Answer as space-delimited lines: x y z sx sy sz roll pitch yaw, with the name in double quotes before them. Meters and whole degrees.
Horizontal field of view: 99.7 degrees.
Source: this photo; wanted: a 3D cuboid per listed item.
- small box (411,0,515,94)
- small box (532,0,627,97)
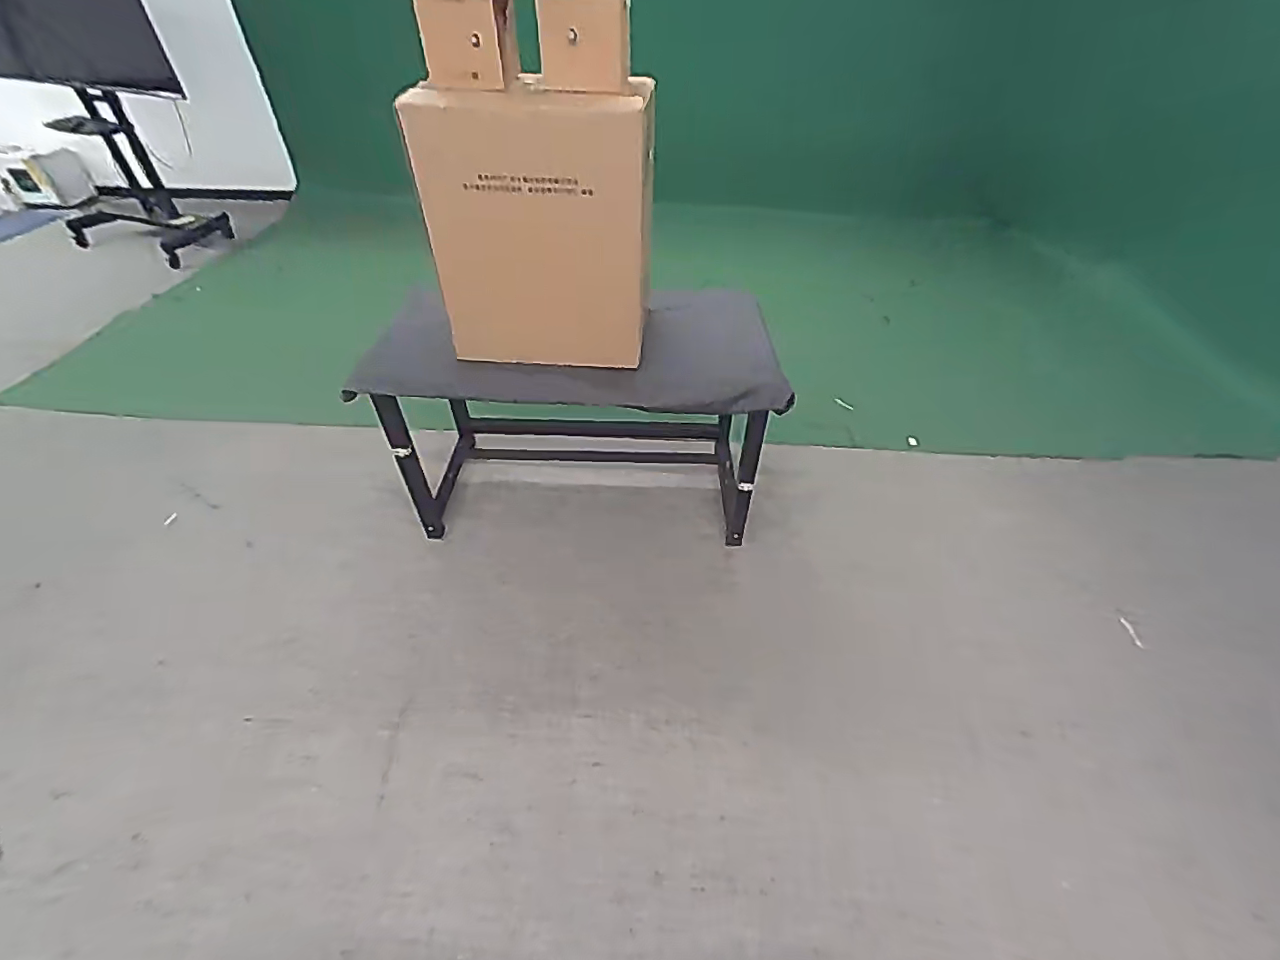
"small box" -0.381 -0.975 1.200 0.168 0.176 0.179 4 44 0
"small box" -0.125 -0.961 1.193 0.179 0.176 0.168 4 46 3
